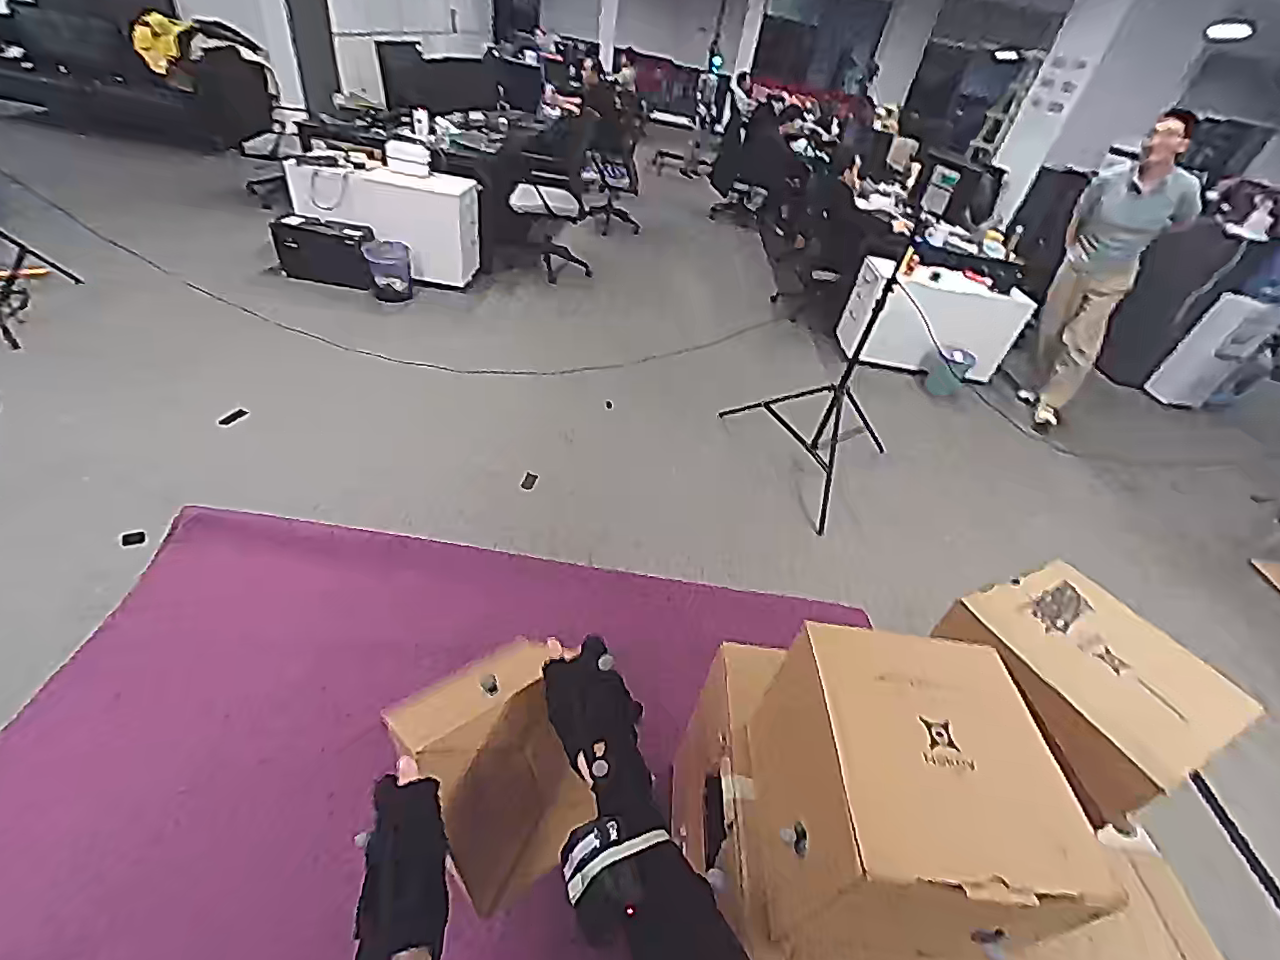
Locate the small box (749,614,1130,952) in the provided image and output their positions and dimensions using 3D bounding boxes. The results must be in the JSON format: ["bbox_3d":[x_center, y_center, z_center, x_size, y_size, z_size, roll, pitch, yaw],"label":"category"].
[{"bbox_3d":[0.193,0.233,0.418,0.168,0.176,0.179,9,38,-5],"label":"small box"}]

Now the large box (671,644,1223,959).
[{"bbox_3d":[0.258,0.419,0.594,0.408,0.320,0.320,9,39,-3],"label":"large box"}]

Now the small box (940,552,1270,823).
[{"bbox_3d":[0.378,0.198,0.499,0.168,0.176,0.179,-10,42,-24],"label":"small box"}]
